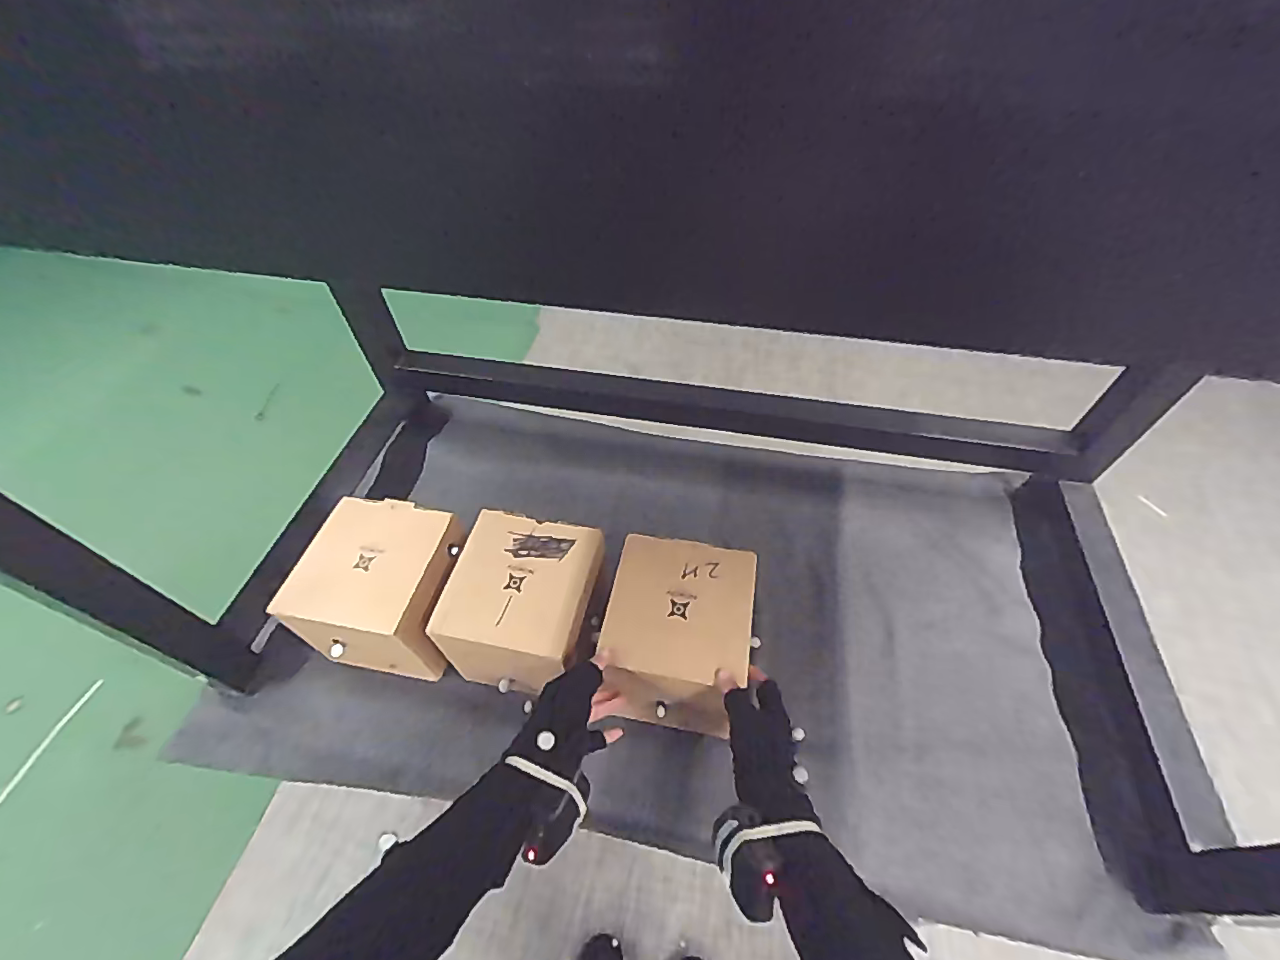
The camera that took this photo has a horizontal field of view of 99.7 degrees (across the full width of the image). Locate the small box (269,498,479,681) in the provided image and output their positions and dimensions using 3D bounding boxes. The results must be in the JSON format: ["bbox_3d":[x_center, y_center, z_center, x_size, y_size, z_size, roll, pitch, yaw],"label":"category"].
[{"bbox_3d":[-0.338,0.152,0.734,0.168,0.176,0.179,8,51,8],"label":"small box"}]
